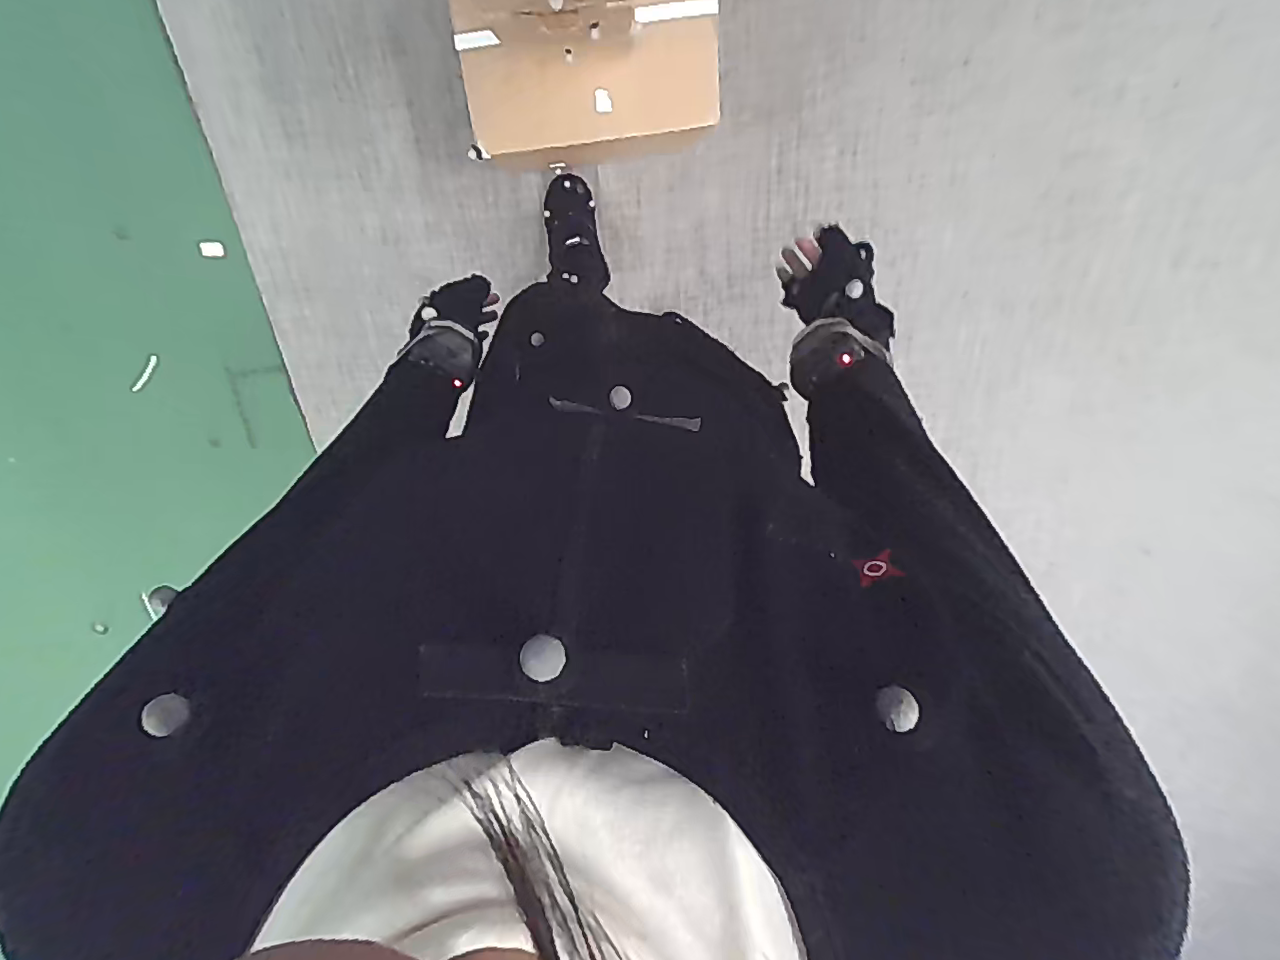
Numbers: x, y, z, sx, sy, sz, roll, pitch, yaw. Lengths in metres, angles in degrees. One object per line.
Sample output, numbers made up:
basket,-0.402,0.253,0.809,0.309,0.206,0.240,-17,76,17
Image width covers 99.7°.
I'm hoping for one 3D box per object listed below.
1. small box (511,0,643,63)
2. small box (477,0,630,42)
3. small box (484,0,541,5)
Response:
small box,-0.095,-0.689,0.737,0.179,0.176,0.168,-7,121,1
small box,-0.099,-0.610,0.596,0.168,0.176,0.179,-7,120,1
small box,-0.091,-0.529,0.454,0.168,0.176,0.179,-7,122,1
